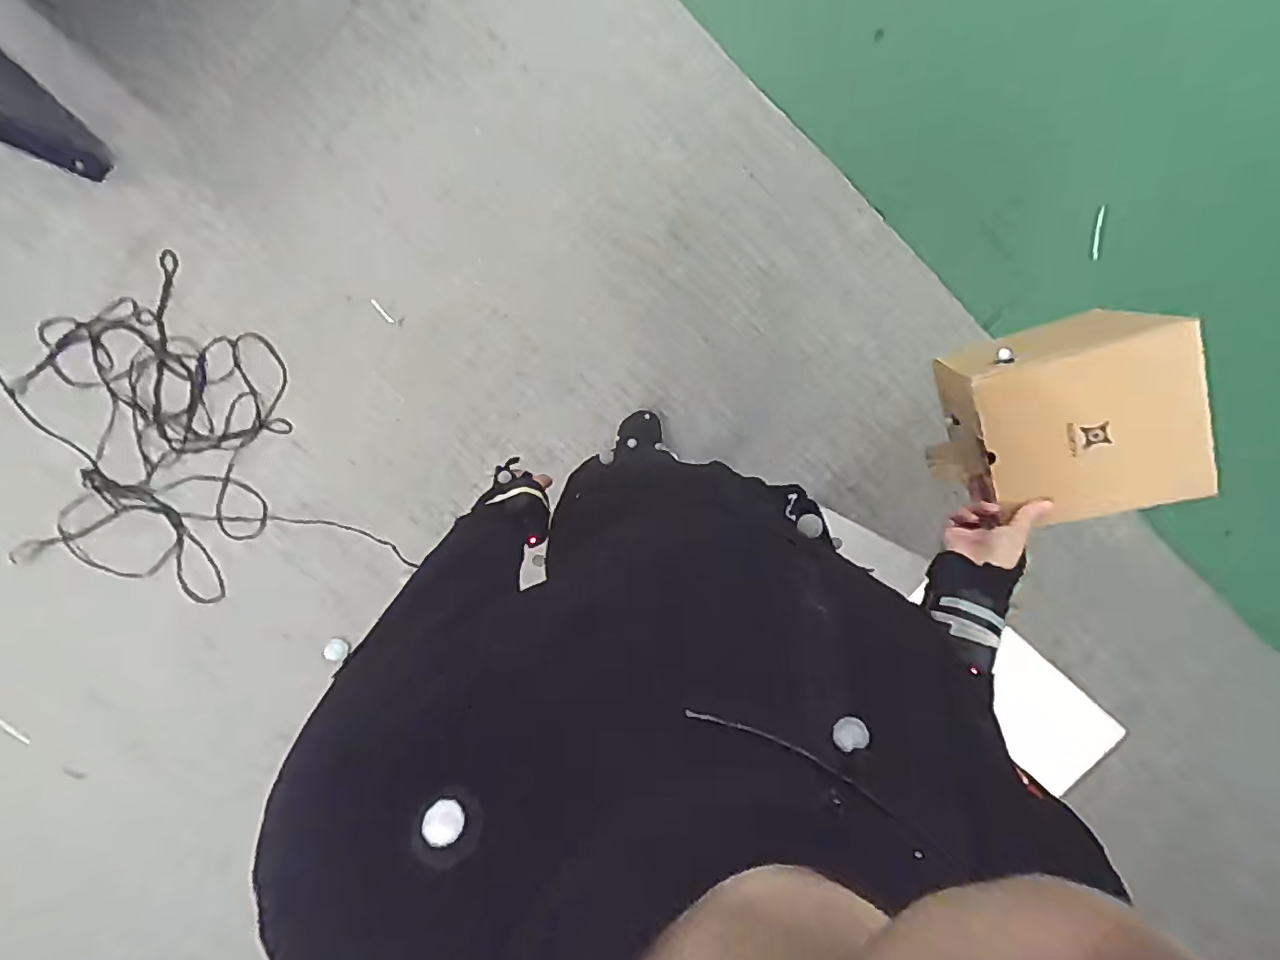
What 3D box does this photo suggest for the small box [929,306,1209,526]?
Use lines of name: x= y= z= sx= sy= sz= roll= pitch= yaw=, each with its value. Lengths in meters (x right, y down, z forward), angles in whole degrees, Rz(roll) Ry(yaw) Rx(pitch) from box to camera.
small box: x=0.434 y=-0.075 z=0.575 sx=0.179 sy=0.176 sz=0.168 roll=-16 pitch=104 yaw=22
